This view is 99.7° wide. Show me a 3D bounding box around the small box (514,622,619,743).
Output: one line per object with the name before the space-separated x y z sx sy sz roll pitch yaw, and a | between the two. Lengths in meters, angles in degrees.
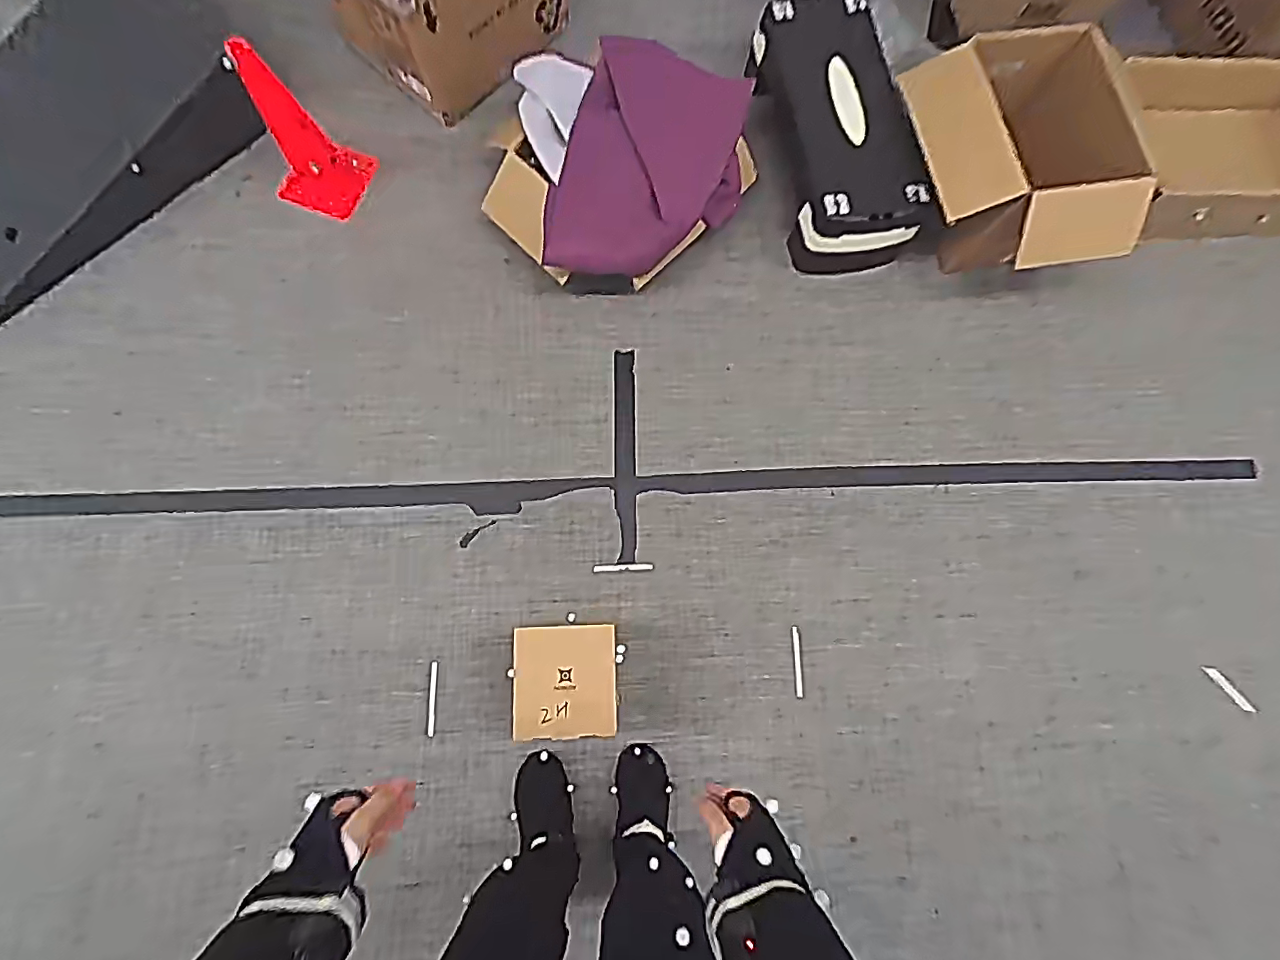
small box | -0.121 0.340 0.938 0.168 0.176 0.179 -1 78 -3
